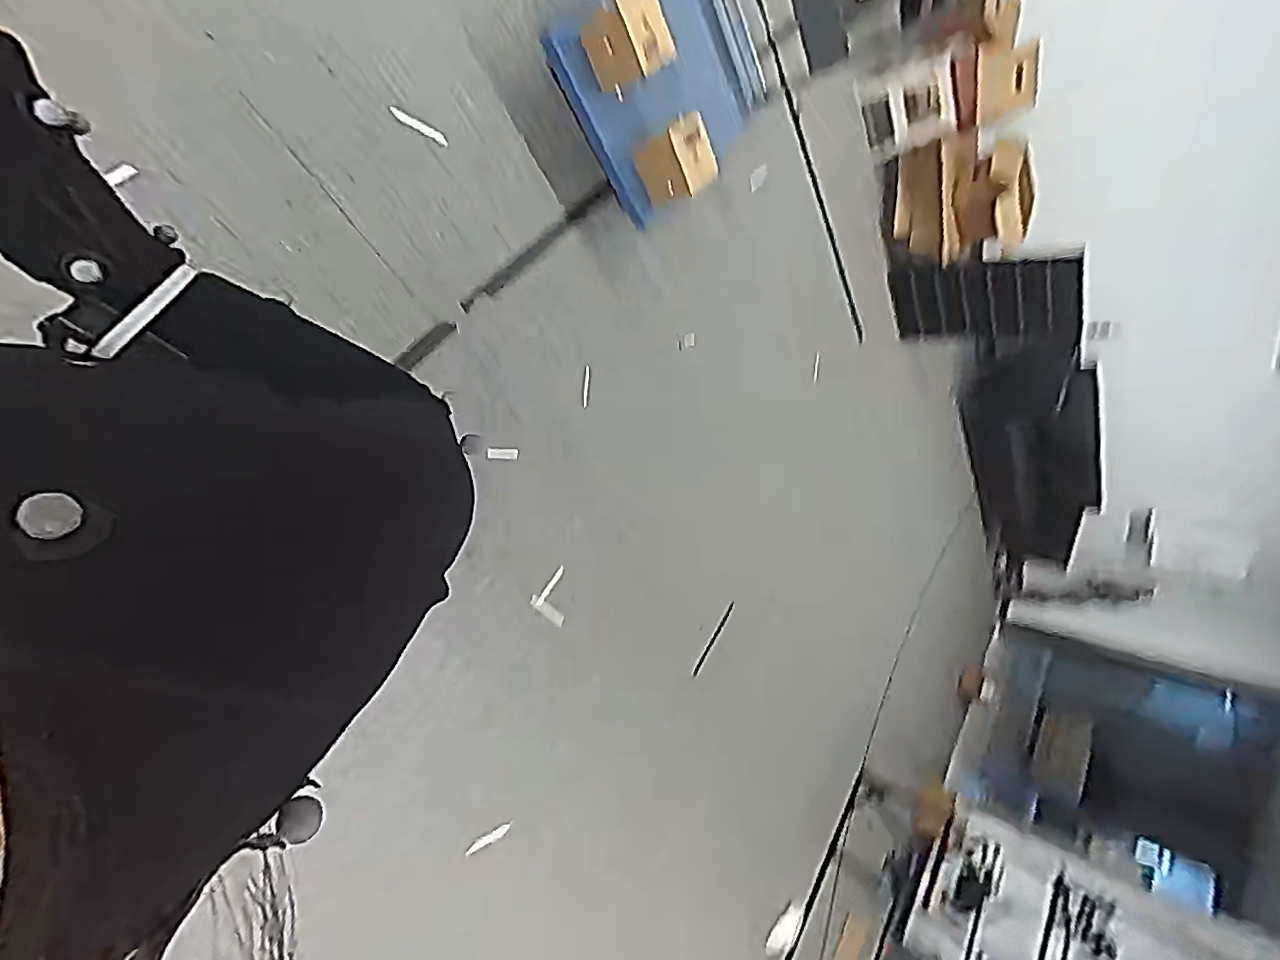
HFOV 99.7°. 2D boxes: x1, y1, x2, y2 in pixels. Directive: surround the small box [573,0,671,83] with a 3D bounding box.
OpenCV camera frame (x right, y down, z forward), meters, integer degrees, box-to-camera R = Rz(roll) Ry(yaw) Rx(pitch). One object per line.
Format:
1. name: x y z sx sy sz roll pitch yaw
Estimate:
1. small box: -0.050 -1.240 1.497 0.168 0.176 0.179 -51 127 -26
